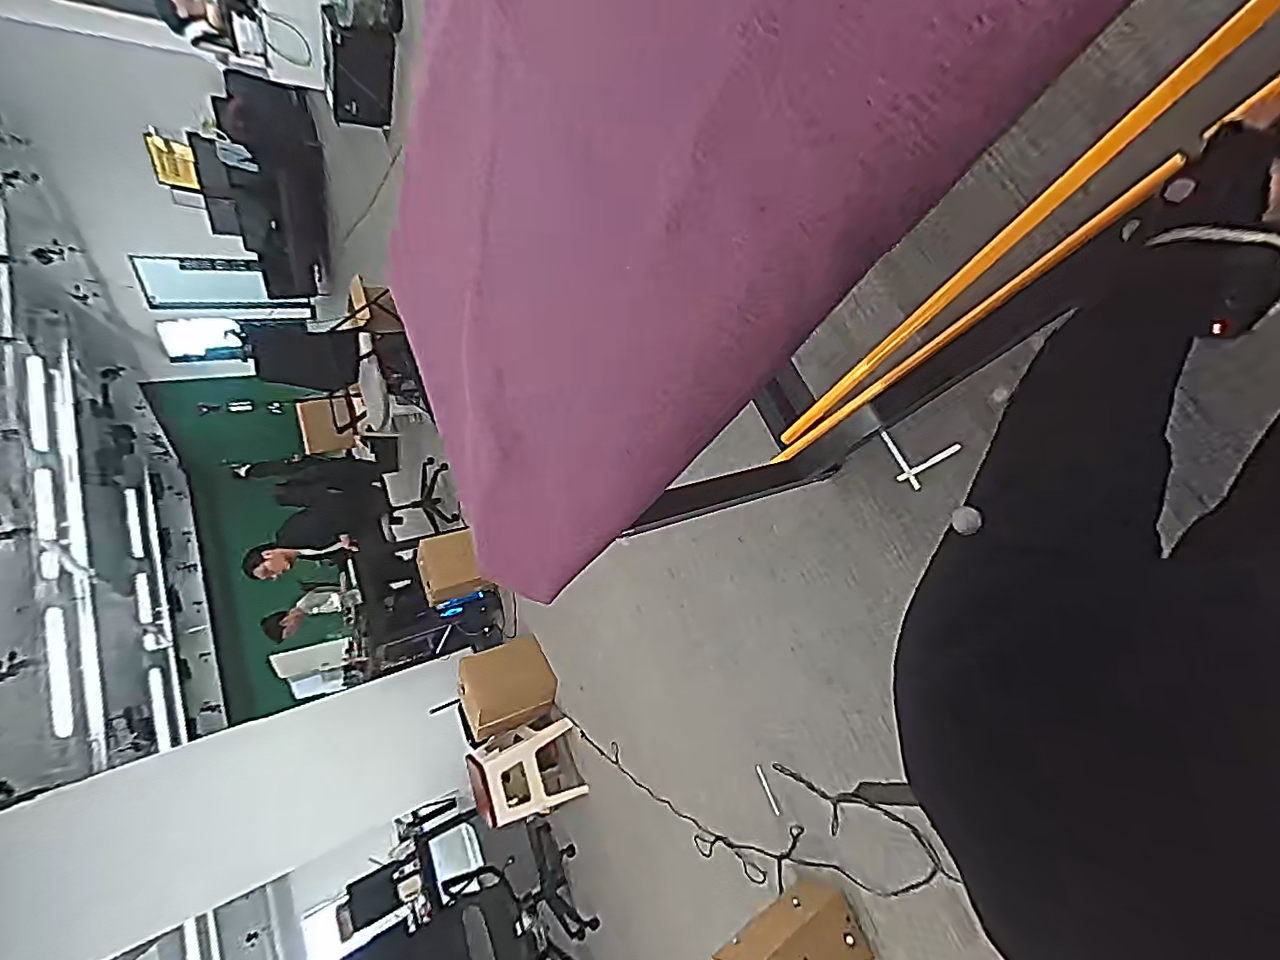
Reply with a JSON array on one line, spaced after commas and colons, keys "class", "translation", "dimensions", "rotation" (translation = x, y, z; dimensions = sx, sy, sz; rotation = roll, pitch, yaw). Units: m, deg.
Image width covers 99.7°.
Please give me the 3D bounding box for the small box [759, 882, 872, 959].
[{"class": "small box", "translation": [0.445, 1.163, 1.376], "dimensions": [0.179, 0.176, 0.168], "rotation": [-47, 62, 51]}]
